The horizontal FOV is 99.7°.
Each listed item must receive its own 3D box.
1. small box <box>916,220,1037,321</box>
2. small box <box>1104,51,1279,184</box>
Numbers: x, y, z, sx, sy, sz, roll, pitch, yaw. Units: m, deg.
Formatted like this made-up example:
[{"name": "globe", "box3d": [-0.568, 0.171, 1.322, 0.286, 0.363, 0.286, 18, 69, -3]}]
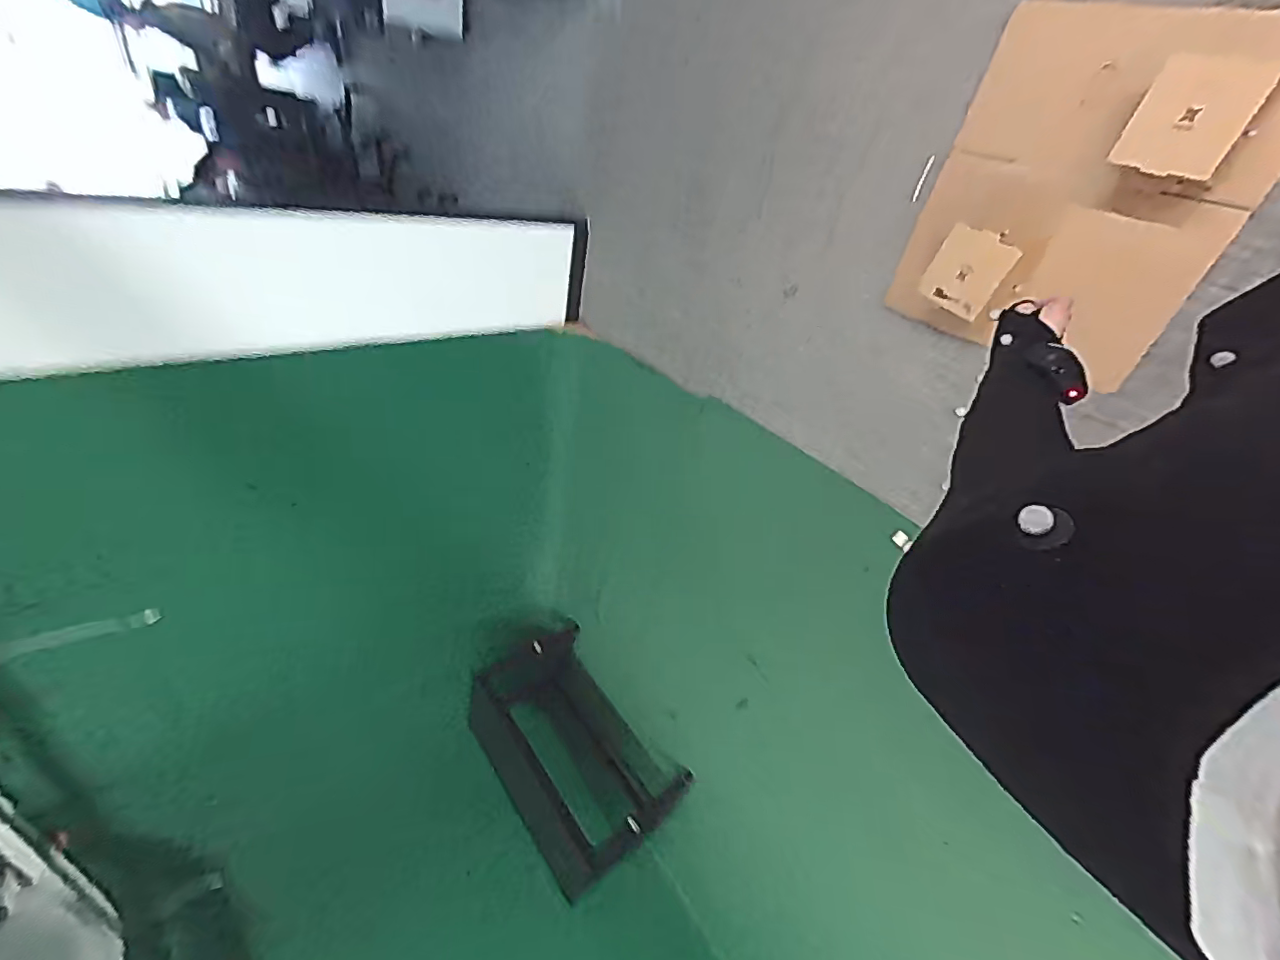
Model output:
[{"name": "small box", "box3d": [0.827, -0.511, 1.323, 0.168, 0.176, 0.179, 47, 135, 28]}, {"name": "small box", "box3d": [1.034, -0.670, 1.013, 0.168, 0.176, 0.179, 40, 133, 33]}]
